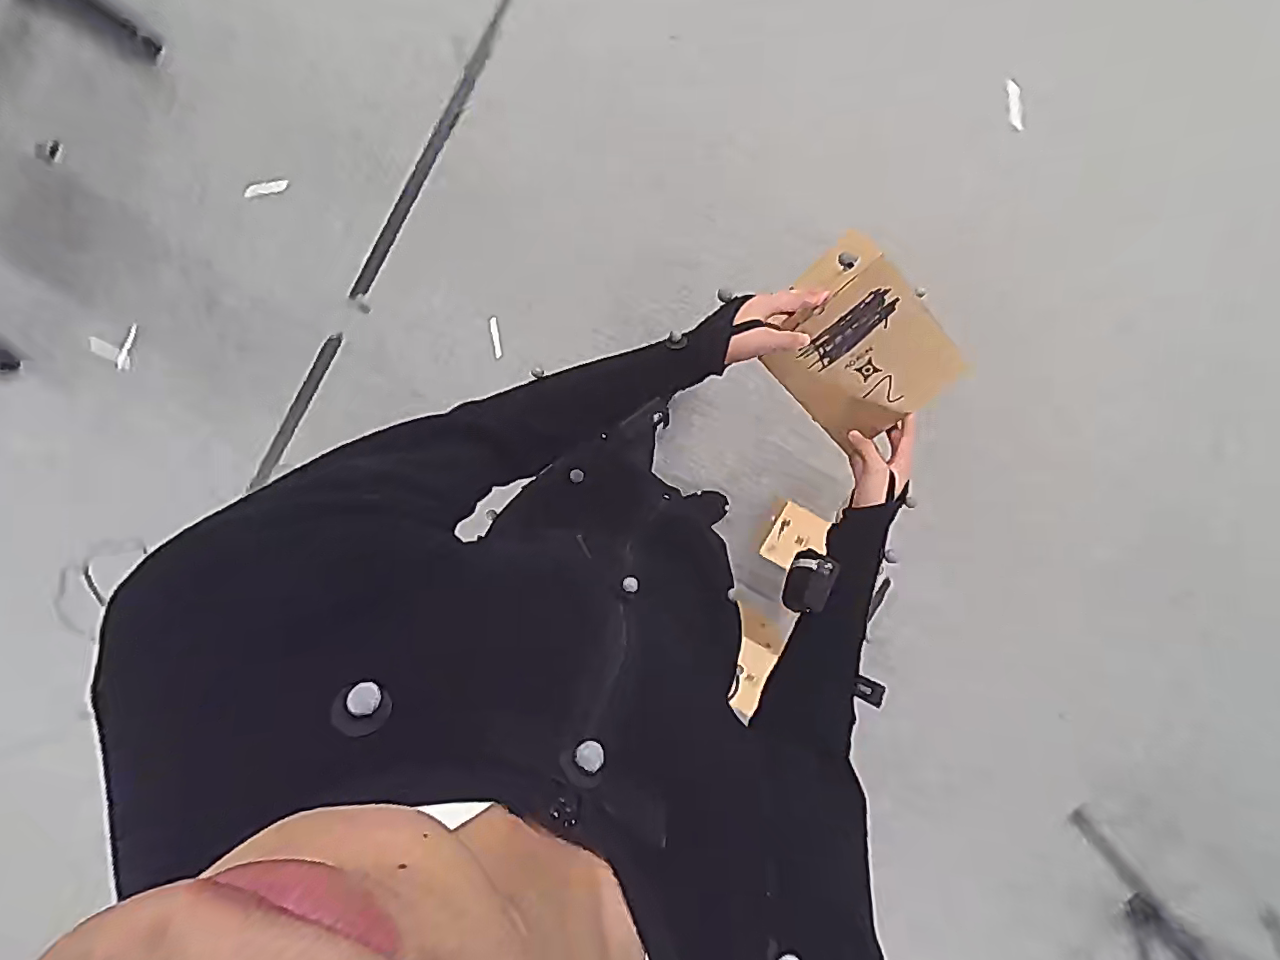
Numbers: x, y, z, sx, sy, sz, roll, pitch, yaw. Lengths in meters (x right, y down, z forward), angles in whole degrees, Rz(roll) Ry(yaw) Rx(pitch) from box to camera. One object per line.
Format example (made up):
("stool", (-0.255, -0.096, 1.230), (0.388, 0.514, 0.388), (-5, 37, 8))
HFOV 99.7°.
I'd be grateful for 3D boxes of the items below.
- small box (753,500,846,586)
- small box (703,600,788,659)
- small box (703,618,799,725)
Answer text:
("small box", (0.440, 0.168, 1.522), (0.179, 0.176, 0.168), (30, 95, 1))
("small box", (0.297, 0.471, 1.555), (0.179, 0.176, 0.168), (32, 96, 2))
("small box", (0.277, 0.482, 1.392), (0.179, 0.176, 0.168), (32, 96, 1))
